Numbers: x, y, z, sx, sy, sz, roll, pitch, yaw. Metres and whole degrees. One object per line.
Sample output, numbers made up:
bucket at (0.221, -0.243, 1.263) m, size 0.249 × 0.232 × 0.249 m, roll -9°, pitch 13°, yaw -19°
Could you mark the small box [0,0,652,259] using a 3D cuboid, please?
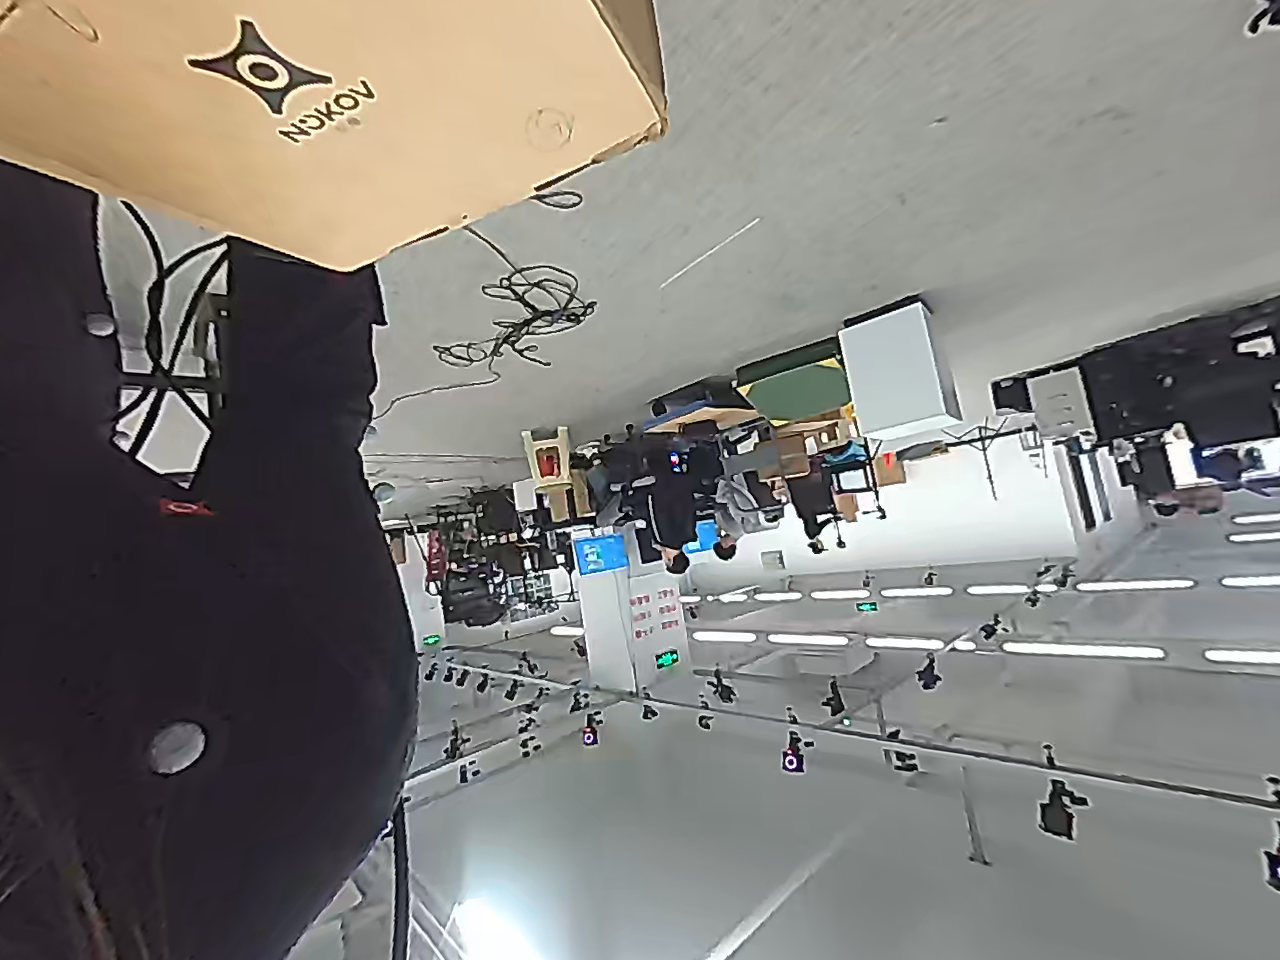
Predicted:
small box at (-0.112, -0.192, 0.146) m, size 0.168 × 0.176 × 0.179 m, roll -11°, pitch 178°, yaw 23°
